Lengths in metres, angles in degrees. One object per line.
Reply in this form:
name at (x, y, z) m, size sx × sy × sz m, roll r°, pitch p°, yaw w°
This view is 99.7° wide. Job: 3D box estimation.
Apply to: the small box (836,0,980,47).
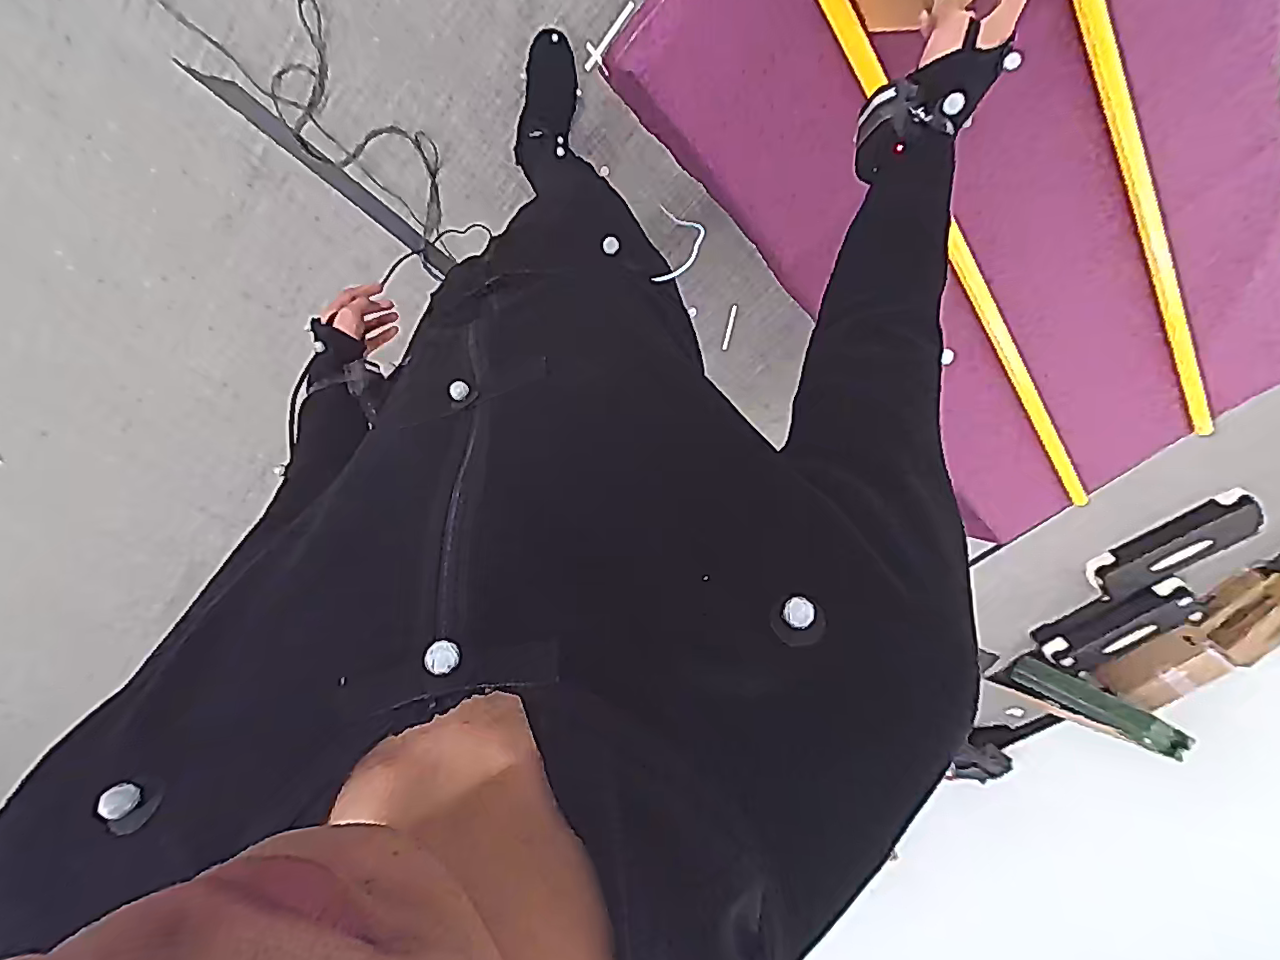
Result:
small box at (0.269, -0.559, 0.506) m, size 0.168 × 0.176 × 0.179 m, roll -39°, pitch 125°, yaw 21°
